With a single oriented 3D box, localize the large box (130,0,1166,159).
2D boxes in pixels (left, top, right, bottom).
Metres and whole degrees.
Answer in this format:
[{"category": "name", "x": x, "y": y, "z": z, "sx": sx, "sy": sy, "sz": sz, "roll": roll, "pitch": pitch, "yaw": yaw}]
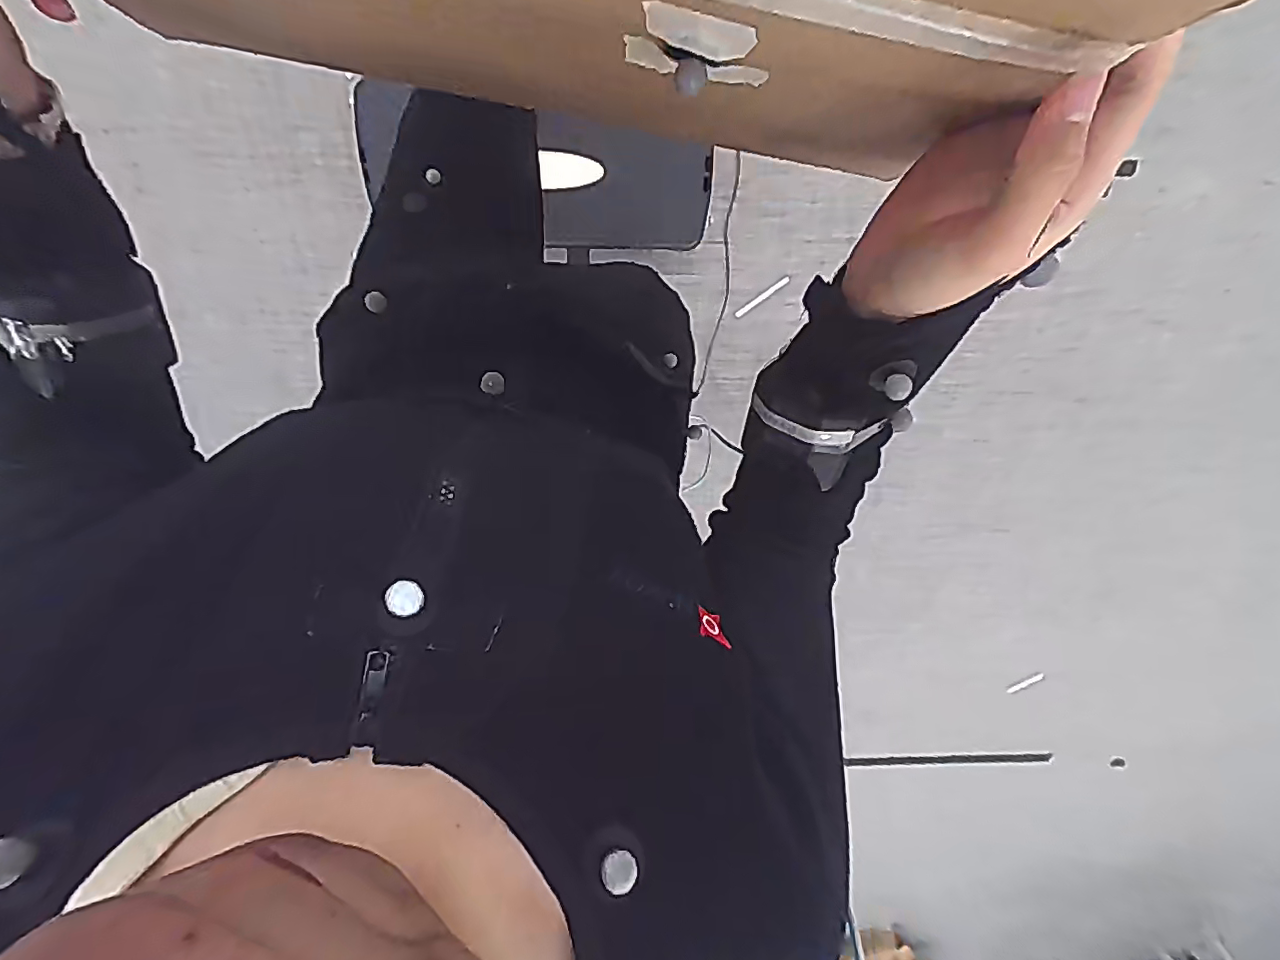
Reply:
[{"category": "large box", "x": -0.021, "y": -0.319, "z": 0.122, "sx": 0.408, "sy": 0.320, "sz": 0.320, "roll": 7, "pitch": 106, "yaw": -5}]
